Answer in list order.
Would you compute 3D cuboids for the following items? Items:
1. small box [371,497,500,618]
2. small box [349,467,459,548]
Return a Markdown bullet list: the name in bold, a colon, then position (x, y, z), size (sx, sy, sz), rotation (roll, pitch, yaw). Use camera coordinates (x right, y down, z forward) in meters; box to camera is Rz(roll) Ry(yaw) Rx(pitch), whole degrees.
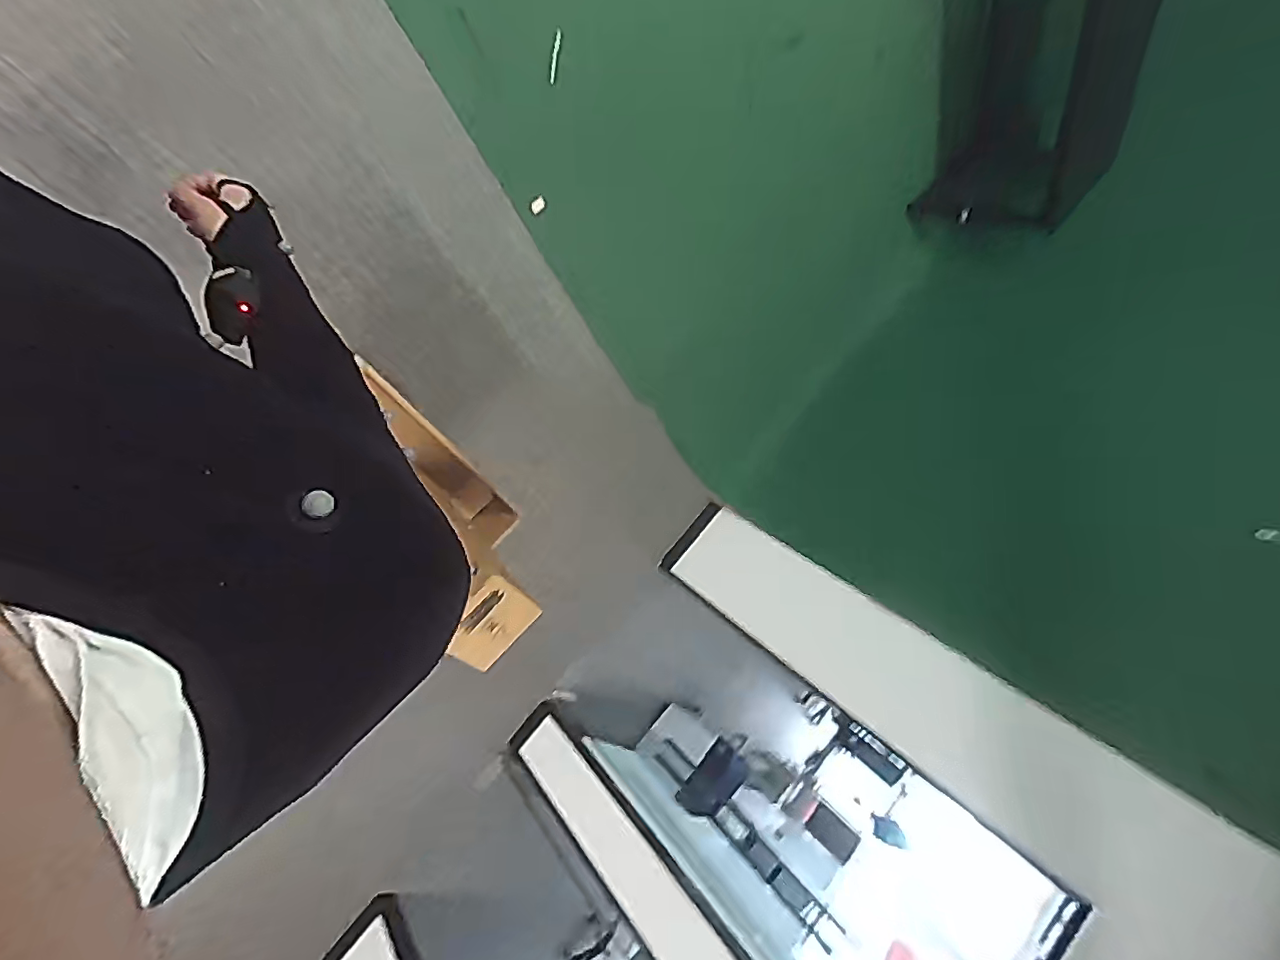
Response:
- **small box**: position (-0.450, 0.165, 1.191), size (0.168, 0.176, 0.179), rotation (-46, 138, -11)
- **small box**: position (-0.553, 0.098, 1.297), size (0.168, 0.176, 0.179), rotation (-47, 139, -12)
